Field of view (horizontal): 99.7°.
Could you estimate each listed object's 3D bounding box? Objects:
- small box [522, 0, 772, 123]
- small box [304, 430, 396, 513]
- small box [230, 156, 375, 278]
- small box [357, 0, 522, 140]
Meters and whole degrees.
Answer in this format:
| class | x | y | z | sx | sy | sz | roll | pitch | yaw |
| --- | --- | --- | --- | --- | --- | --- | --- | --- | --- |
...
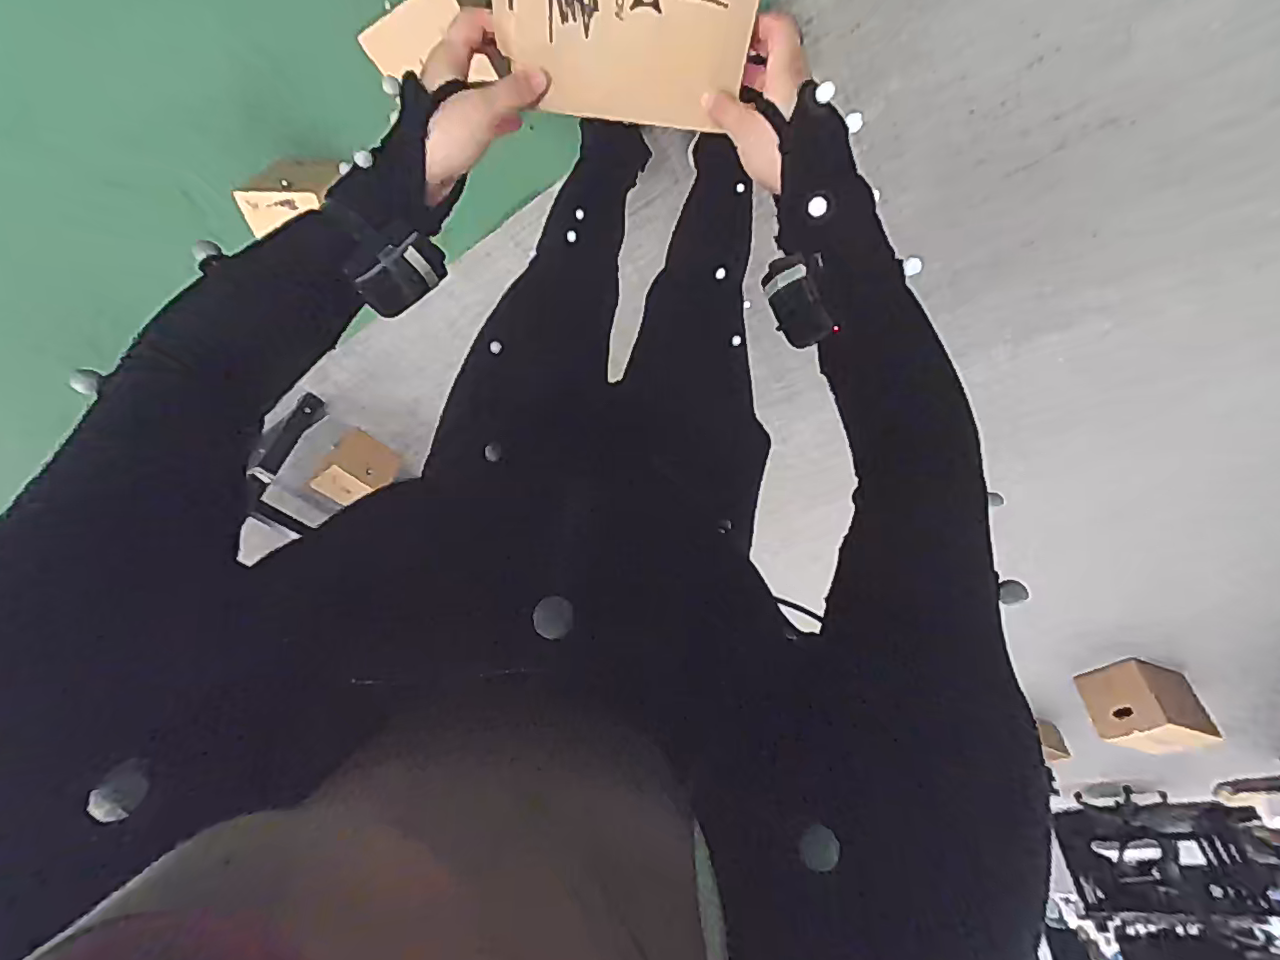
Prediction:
| class | x | y | z | sx | sy | sz | roll | pitch | yaw |
| --- | --- | --- | --- | --- | --- | --- | --- | --- | --- |
| small box | 0.006 | -0.407 | 0.413 | 0.179 | 0.176 | 0.168 | 3 | 143 | -7 |
| small box | -0.922 | -0.027 | 1.738 | 0.168 | 0.176 | 0.179 | -24 | 132 | 27 |
| small box | -0.685 | -0.546 | 1.126 | 0.168 | 0.176 | 0.179 | 2 | 140 | 2 |
| small box | -0.321 | -0.716 | 0.903 | 0.179 | 0.176 | 0.168 | -16 | 137 | 20 |
